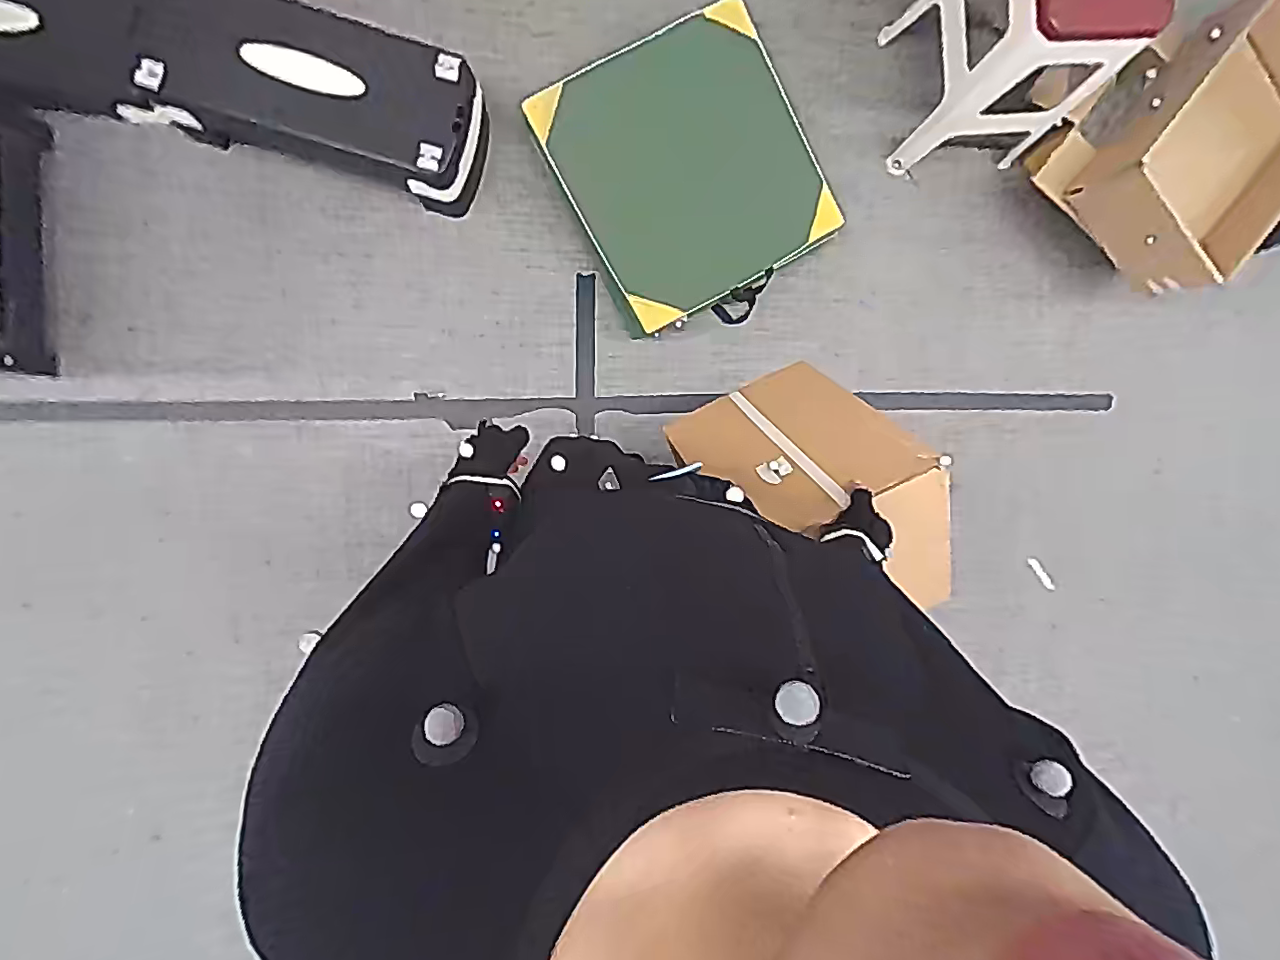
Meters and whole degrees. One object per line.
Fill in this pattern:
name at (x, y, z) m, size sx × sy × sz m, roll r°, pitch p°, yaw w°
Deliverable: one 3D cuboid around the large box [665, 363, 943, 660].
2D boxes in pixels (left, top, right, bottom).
large box at (0.288, 0.043, 1.012) m, size 0.320 × 0.408 × 0.320 m, roll -26°, pitch 128°, yaw 0°
